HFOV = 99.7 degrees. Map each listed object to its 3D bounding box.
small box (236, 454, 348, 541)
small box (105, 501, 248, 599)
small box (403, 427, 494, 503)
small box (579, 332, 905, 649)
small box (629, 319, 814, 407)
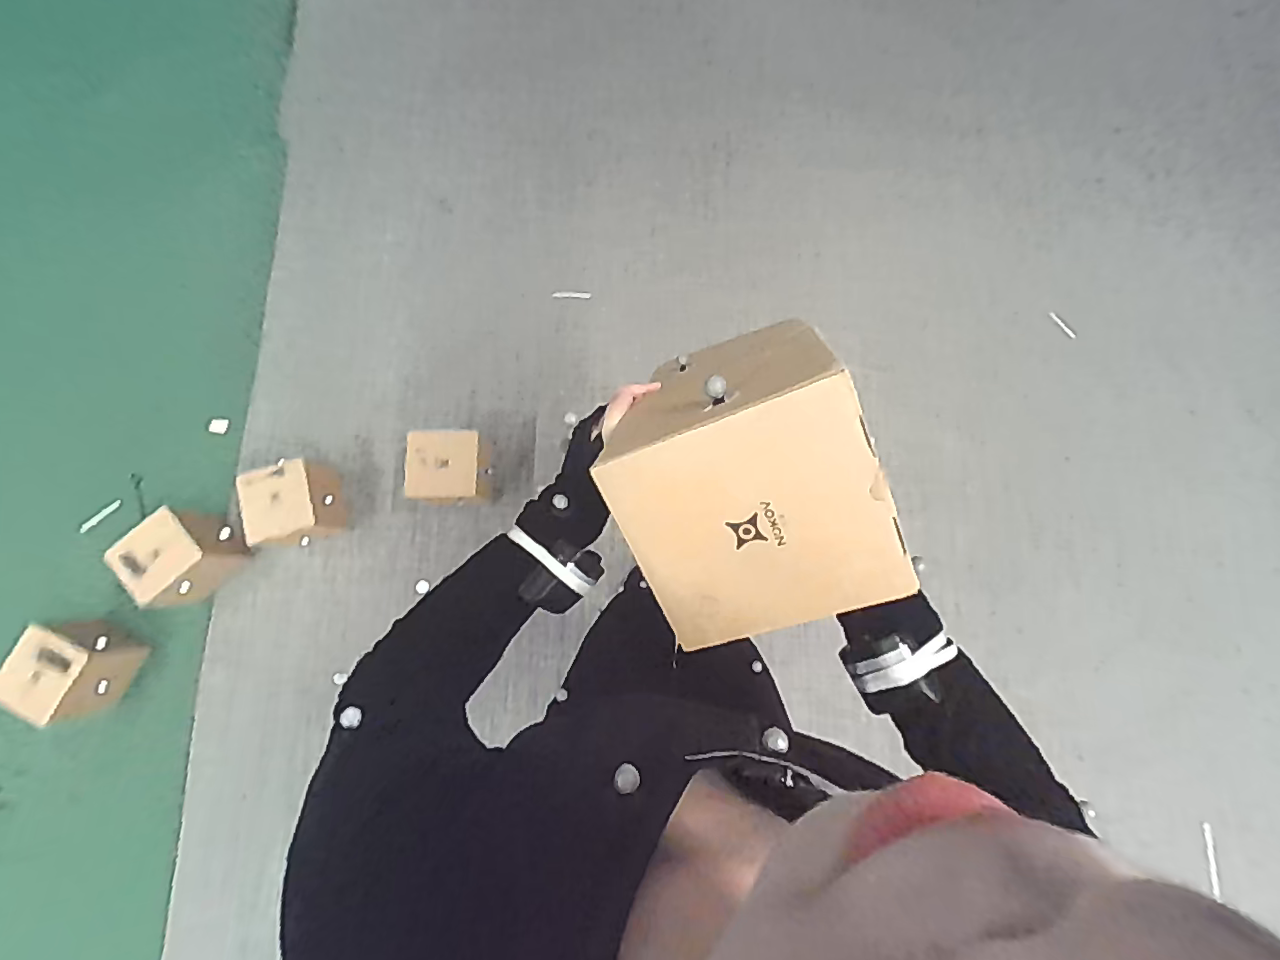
[{"bbox_3d":[-0.869,0.052,1.369,0.168,0.176,0.179,-16,81,-3],"label":"small box"},{"bbox_3d":[-1.140,0.178,1.345,0.179,0.176,0.168,-42,82,-8],"label":"small box"},{"bbox_3d":[-0.481,-0.035,1.384,0.179,0.176,0.168,0,80,-1],"label":"small box"},{"bbox_3d":[0.081,0.000,0.433,0.179,0.176,0.168,-21,109,18],"label":"small box"},{"bbox_3d":[0.108,-0.059,0.582,0.179,0.176,0.168,-17,110,16],"label":"small box"}]
